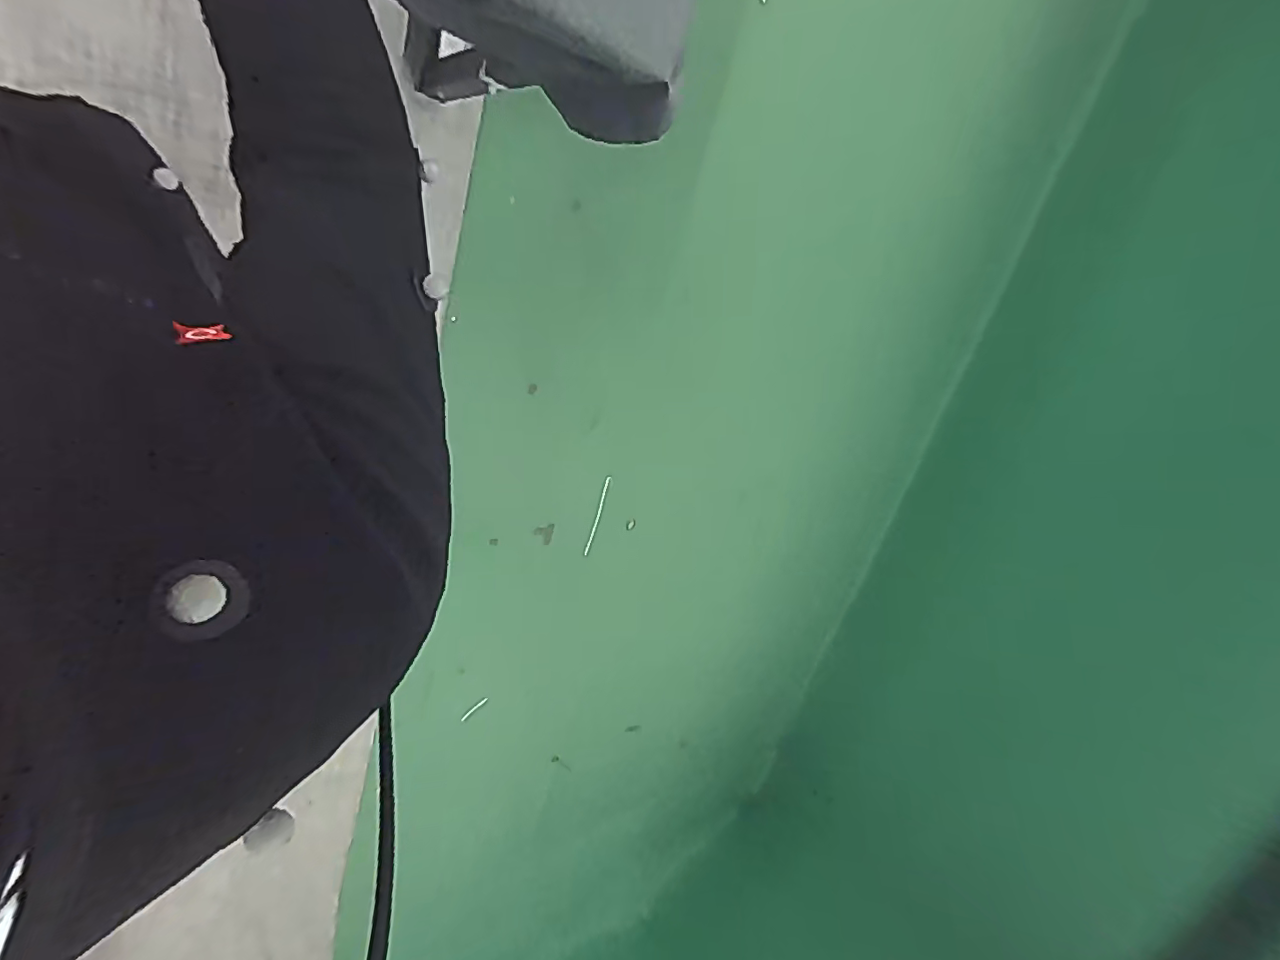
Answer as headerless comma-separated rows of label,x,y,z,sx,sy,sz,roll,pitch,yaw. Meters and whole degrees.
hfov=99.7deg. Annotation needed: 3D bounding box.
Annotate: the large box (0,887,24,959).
large box,-1.559,1.126,1.062,0.408,0.320,0.320,-2,115,-40
